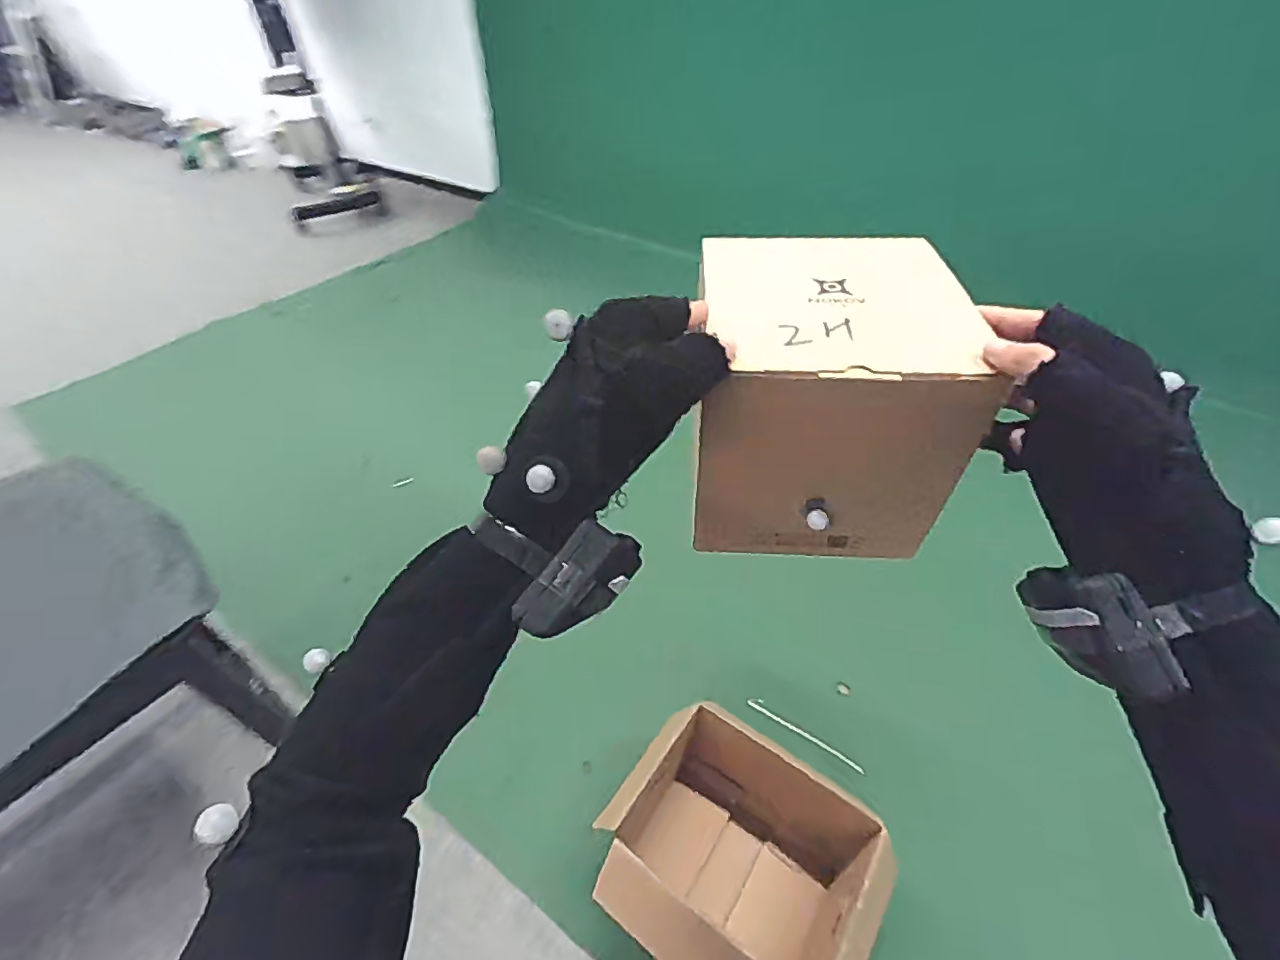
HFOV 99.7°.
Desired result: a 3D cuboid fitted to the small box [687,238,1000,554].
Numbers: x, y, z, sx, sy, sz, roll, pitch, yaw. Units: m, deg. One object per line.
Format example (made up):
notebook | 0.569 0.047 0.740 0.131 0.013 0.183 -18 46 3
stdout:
small box | 0.121 -0.065 0.411 0.168 0.176 0.179 1 47 4
